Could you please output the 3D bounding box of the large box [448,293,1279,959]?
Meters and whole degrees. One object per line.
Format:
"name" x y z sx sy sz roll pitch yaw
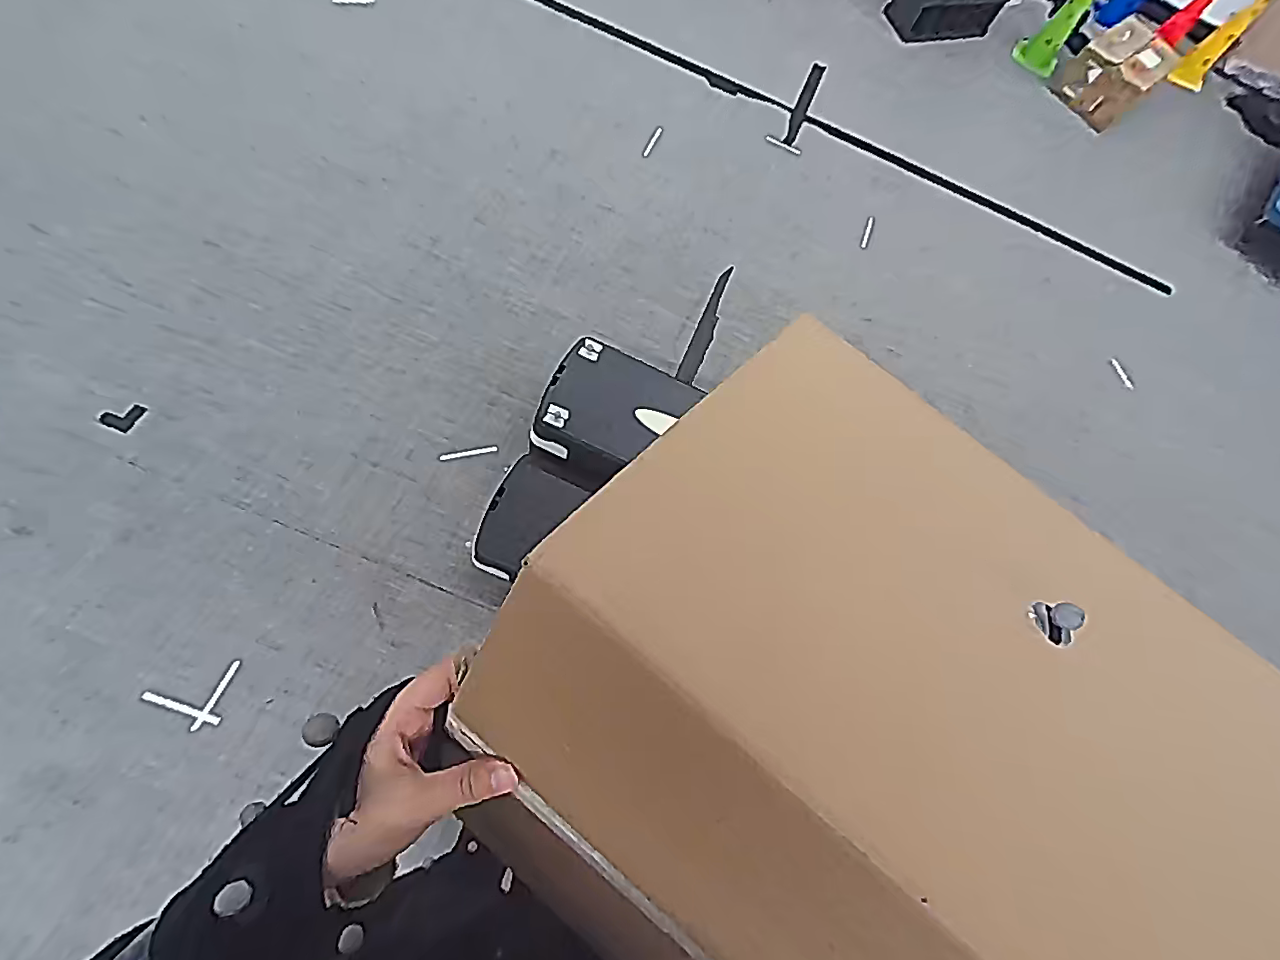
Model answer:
"large box" 0.150 0.144 0.358 0.408 0.320 0.320 39 45 7

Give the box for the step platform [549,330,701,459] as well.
"step platform" 0.121 -0.080 1.334 0.684 0.204 0.286 30 67 -1
